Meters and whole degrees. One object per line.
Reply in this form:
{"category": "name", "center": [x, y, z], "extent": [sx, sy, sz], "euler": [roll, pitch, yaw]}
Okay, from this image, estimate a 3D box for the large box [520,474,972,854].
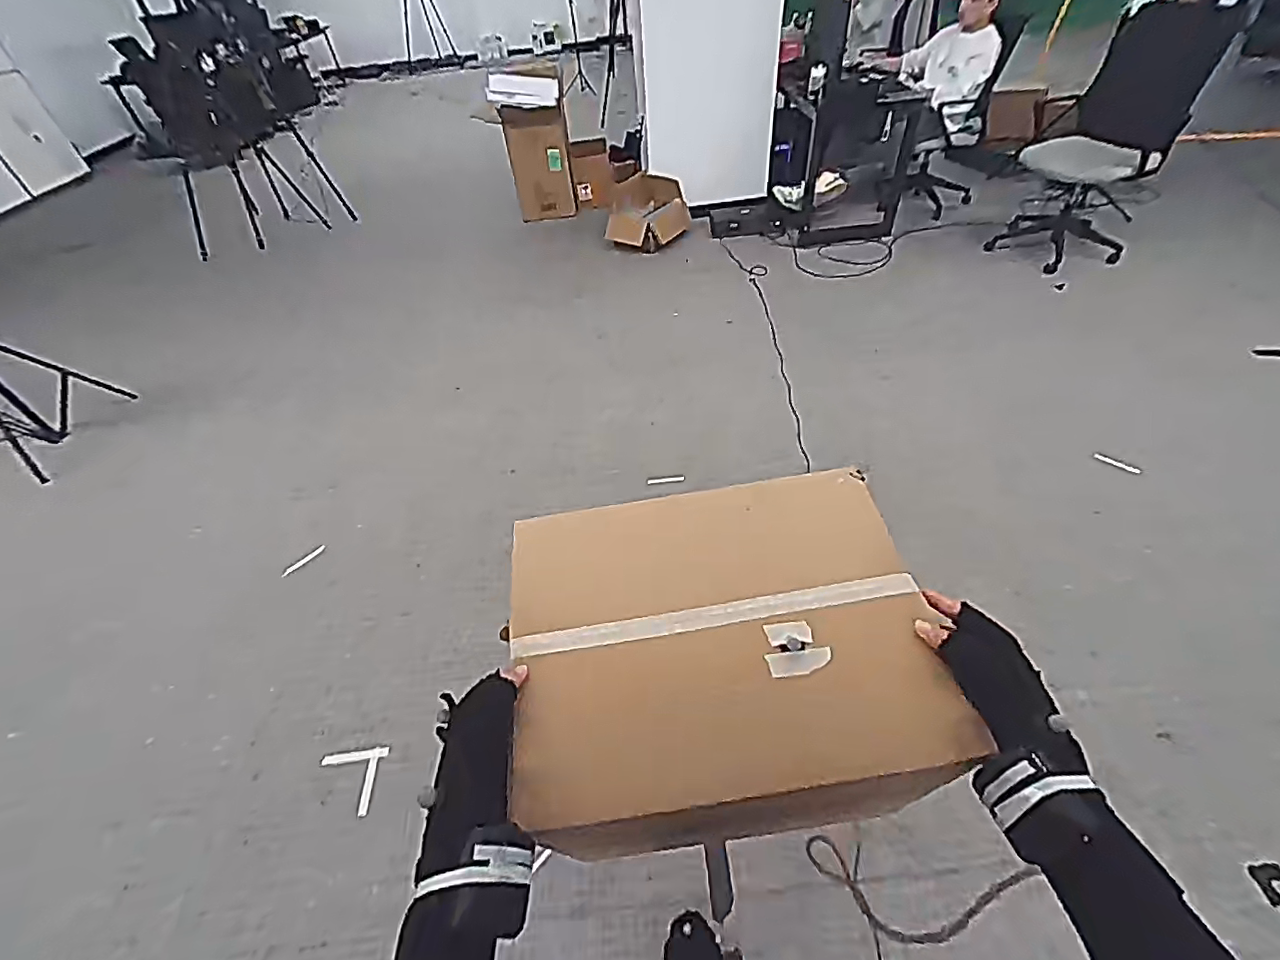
{"category": "large box", "center": [0.086, 0.234, 0.669], "extent": [0.408, 0.320, 0.320], "euler": [-9, 52, -1]}
